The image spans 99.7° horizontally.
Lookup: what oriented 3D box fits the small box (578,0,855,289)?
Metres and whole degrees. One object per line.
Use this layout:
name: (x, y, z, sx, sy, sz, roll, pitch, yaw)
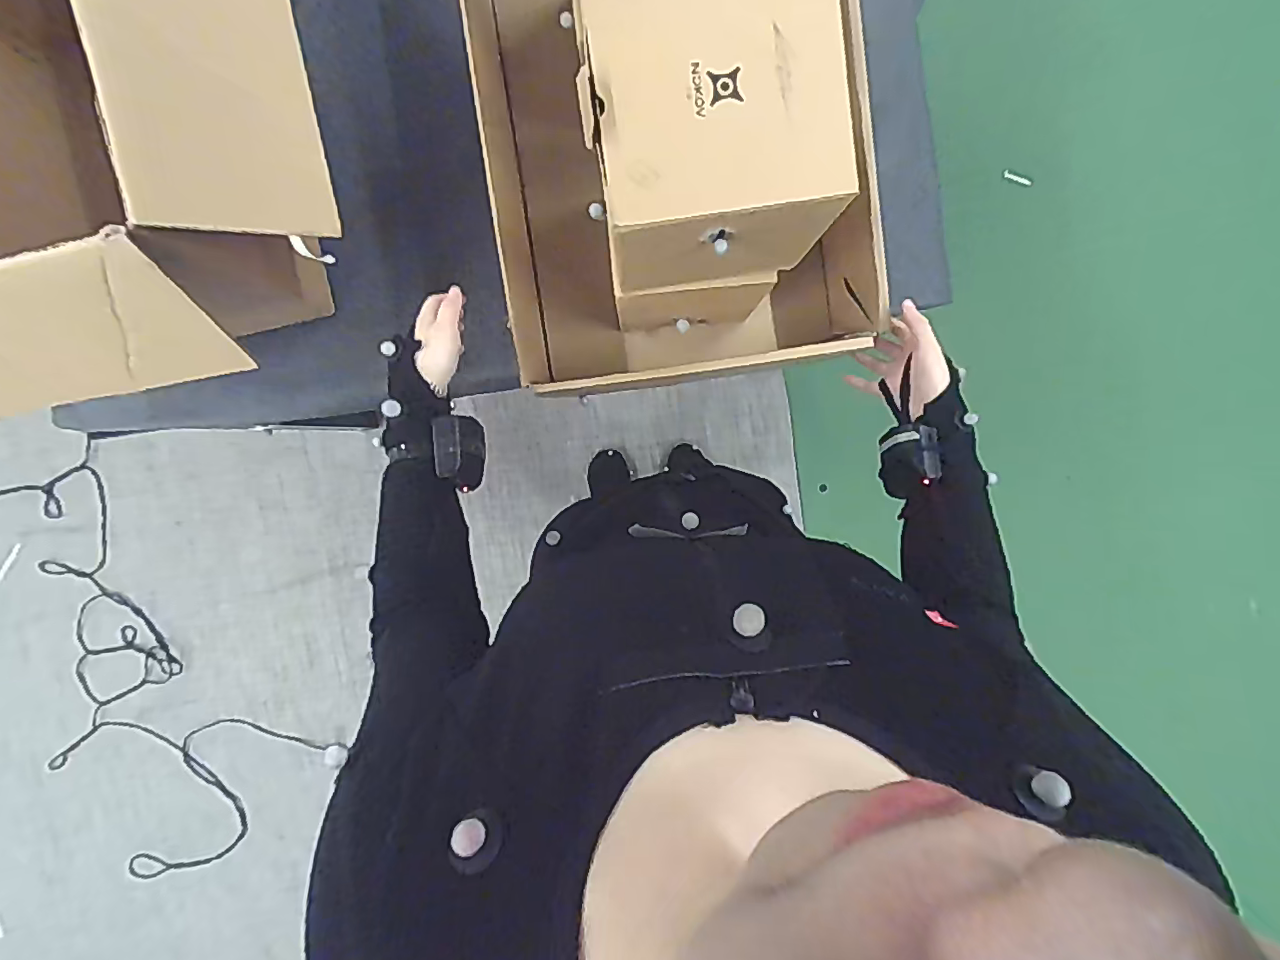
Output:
small box: (0.055, -0.271, 0.452, 0.179, 0.176, 0.168, -8, 95, 1)
